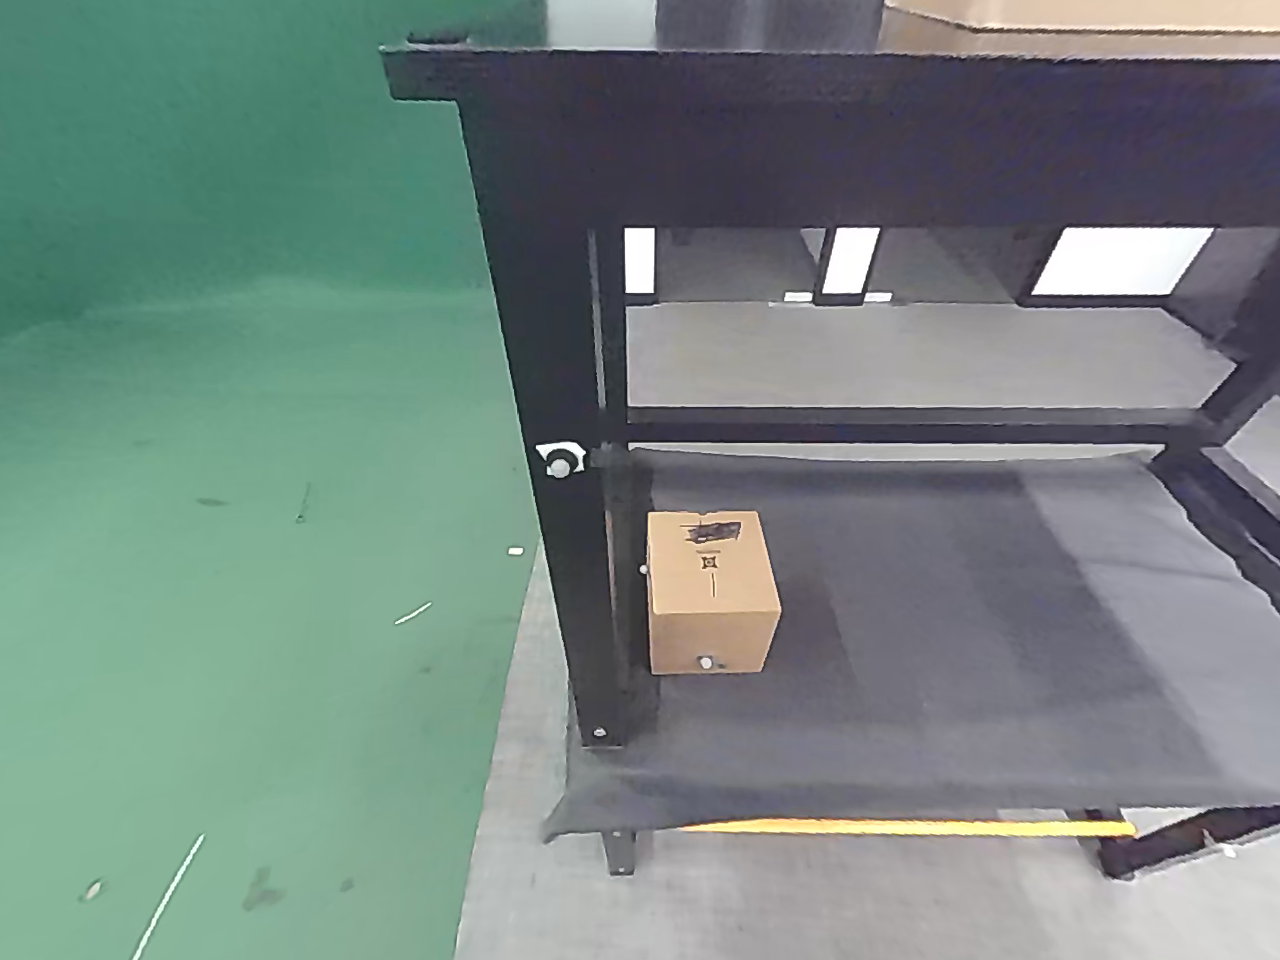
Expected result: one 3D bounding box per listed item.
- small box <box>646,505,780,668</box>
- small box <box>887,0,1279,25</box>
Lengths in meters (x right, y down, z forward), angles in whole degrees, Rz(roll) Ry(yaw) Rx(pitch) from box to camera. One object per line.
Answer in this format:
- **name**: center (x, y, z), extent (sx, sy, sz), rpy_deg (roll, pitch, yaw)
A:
- **small box**: center (0.095, 0.157, 0.800), extent (0.168, 0.176, 0.179), rpy_deg (-2, 44, -1)
- **small box**: center (0.239, -0.328, 0.254), extent (0.168, 0.176, 0.179), rpy_deg (3, 44, 3)
